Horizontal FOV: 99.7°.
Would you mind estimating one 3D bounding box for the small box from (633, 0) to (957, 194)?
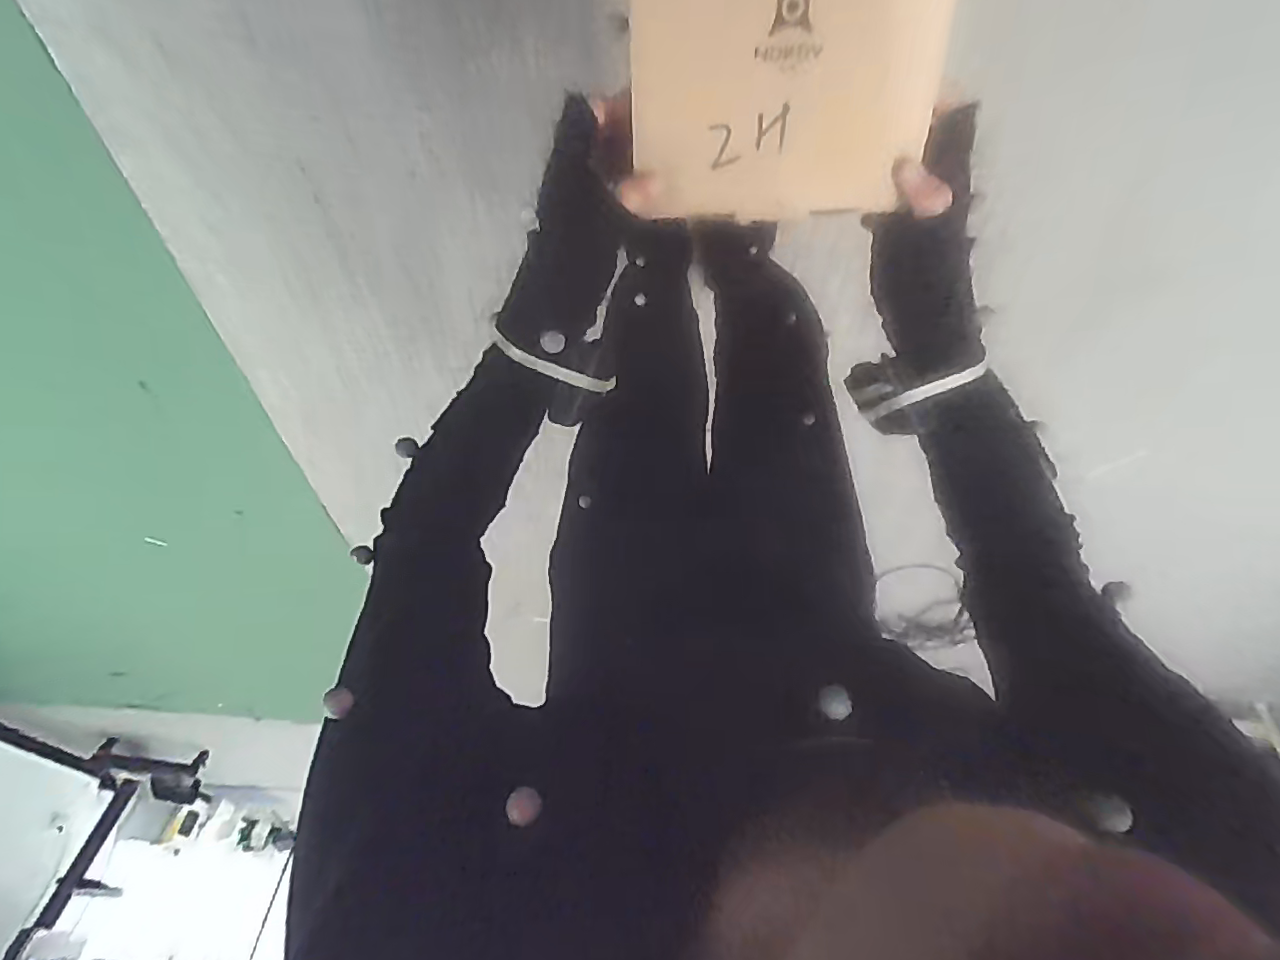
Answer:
[{"bbox_3d":[0.079,-0.283,0.341,0.168,0.176,0.179,-1,121,2],"label":"small box"}]
